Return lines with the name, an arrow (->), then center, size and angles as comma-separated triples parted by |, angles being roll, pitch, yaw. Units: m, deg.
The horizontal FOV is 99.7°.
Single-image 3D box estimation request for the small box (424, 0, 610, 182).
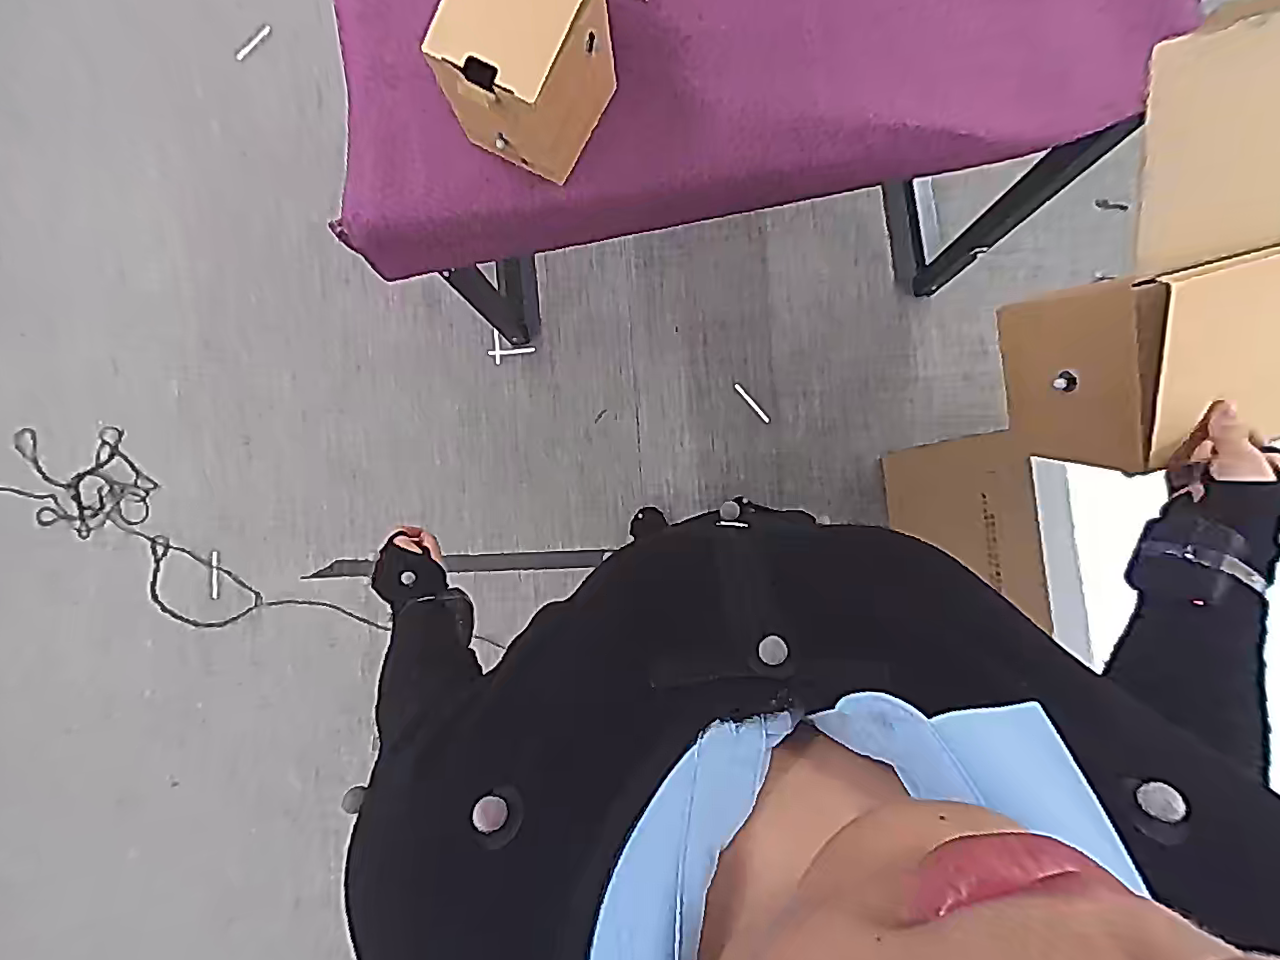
small box -> -0.152, -0.560, 0.740 | 0.168, 0.176, 0.179 | 28, 89, 5
